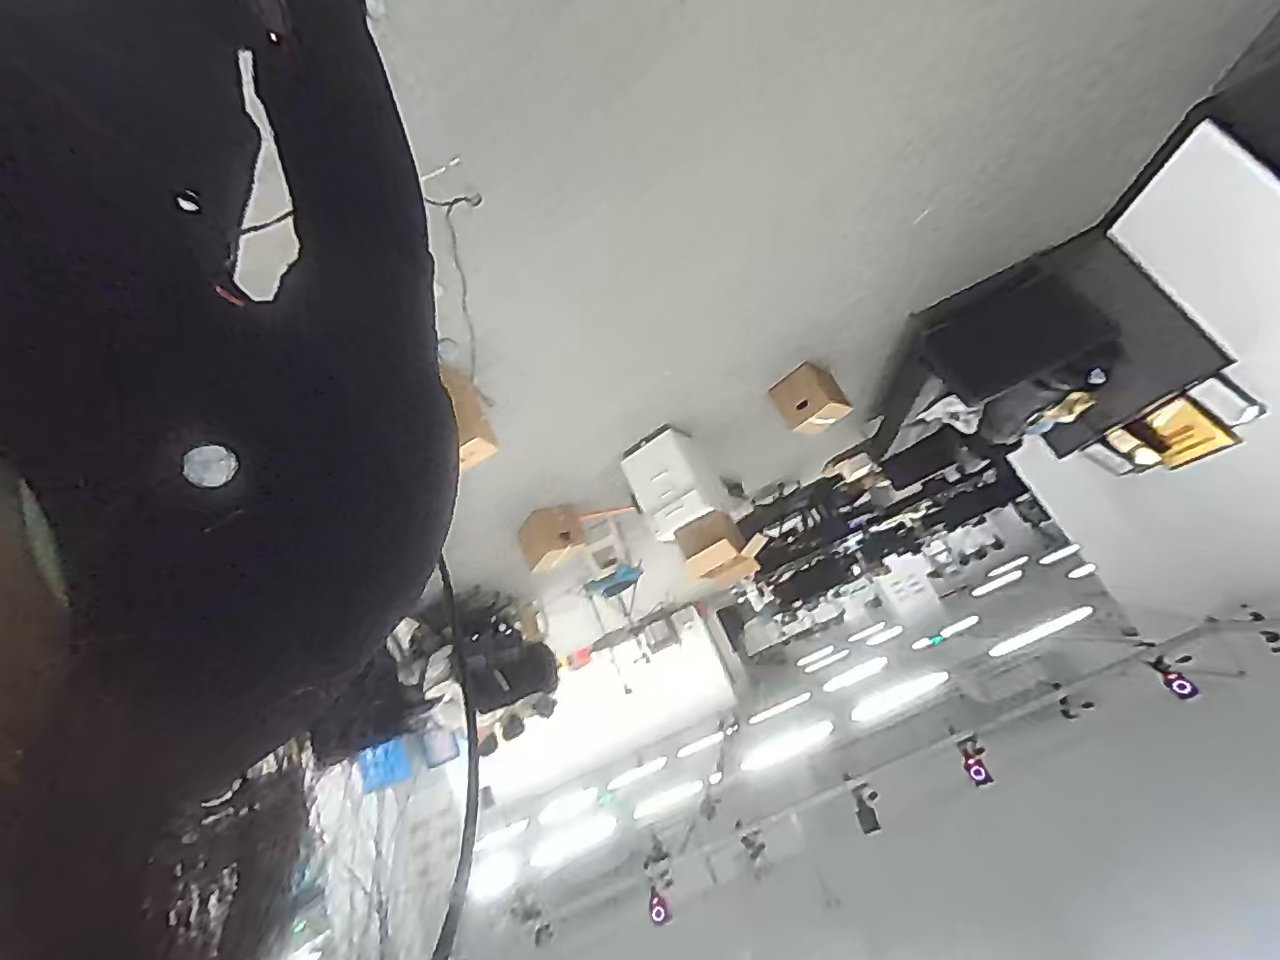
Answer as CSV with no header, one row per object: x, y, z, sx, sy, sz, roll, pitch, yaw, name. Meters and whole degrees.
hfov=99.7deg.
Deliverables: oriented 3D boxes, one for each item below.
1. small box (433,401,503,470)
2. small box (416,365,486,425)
-0.653,-0.167,2.033,0.179,0.176,0.168,-29,161,8,small box
-0.727,-0.309,2.071,0.179,0.176,0.168,-29,160,12,small box
